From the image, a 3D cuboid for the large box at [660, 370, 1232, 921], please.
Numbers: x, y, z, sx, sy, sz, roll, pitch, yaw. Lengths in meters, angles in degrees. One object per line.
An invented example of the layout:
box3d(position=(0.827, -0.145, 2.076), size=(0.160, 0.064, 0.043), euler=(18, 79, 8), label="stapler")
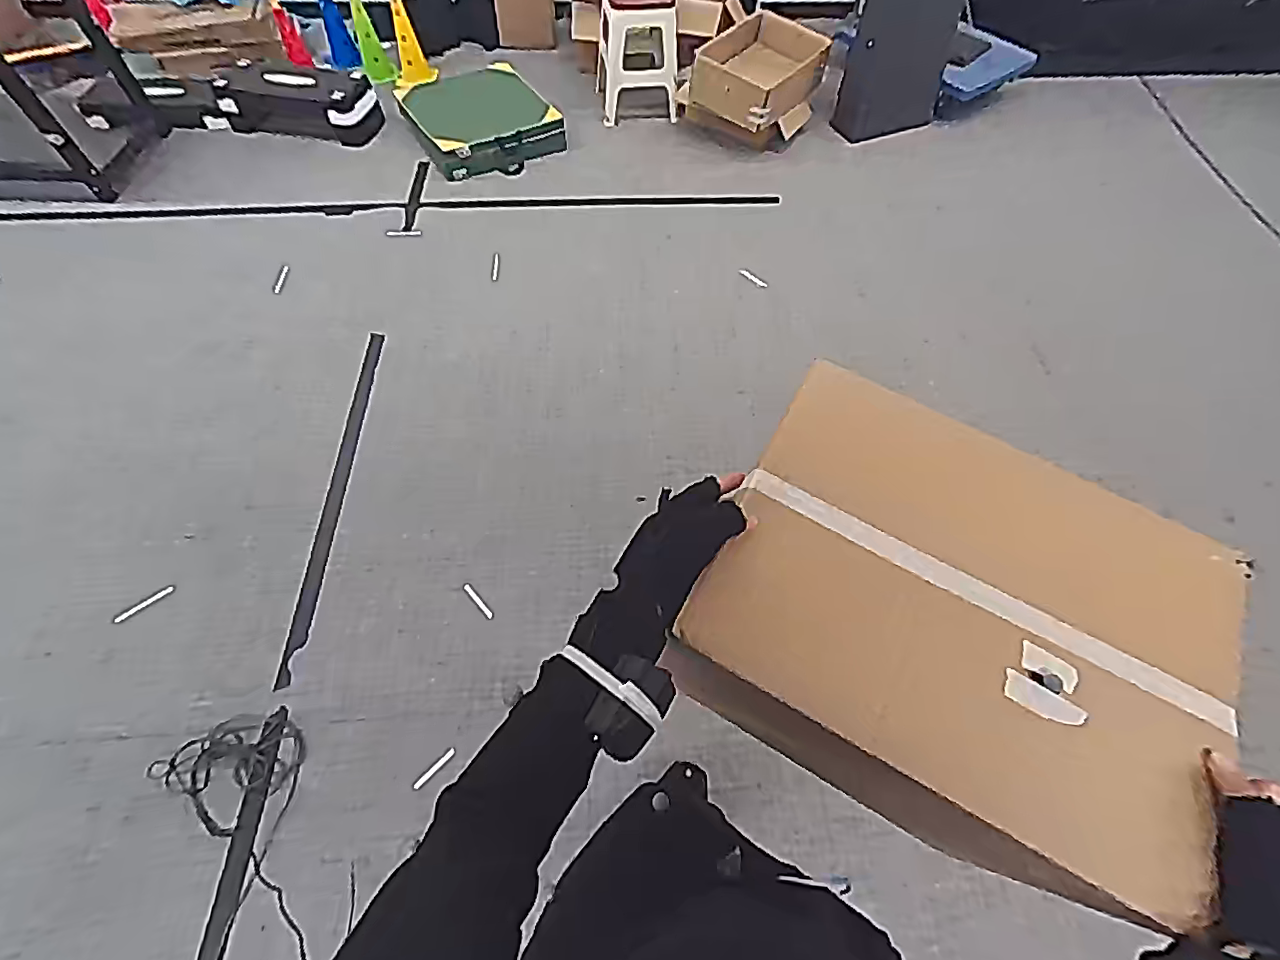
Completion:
box3d(position=(0.274, 0.156, 0.595), size=(0.408, 0.320, 0.320), euler=(29, 69, 10), label="large box")
